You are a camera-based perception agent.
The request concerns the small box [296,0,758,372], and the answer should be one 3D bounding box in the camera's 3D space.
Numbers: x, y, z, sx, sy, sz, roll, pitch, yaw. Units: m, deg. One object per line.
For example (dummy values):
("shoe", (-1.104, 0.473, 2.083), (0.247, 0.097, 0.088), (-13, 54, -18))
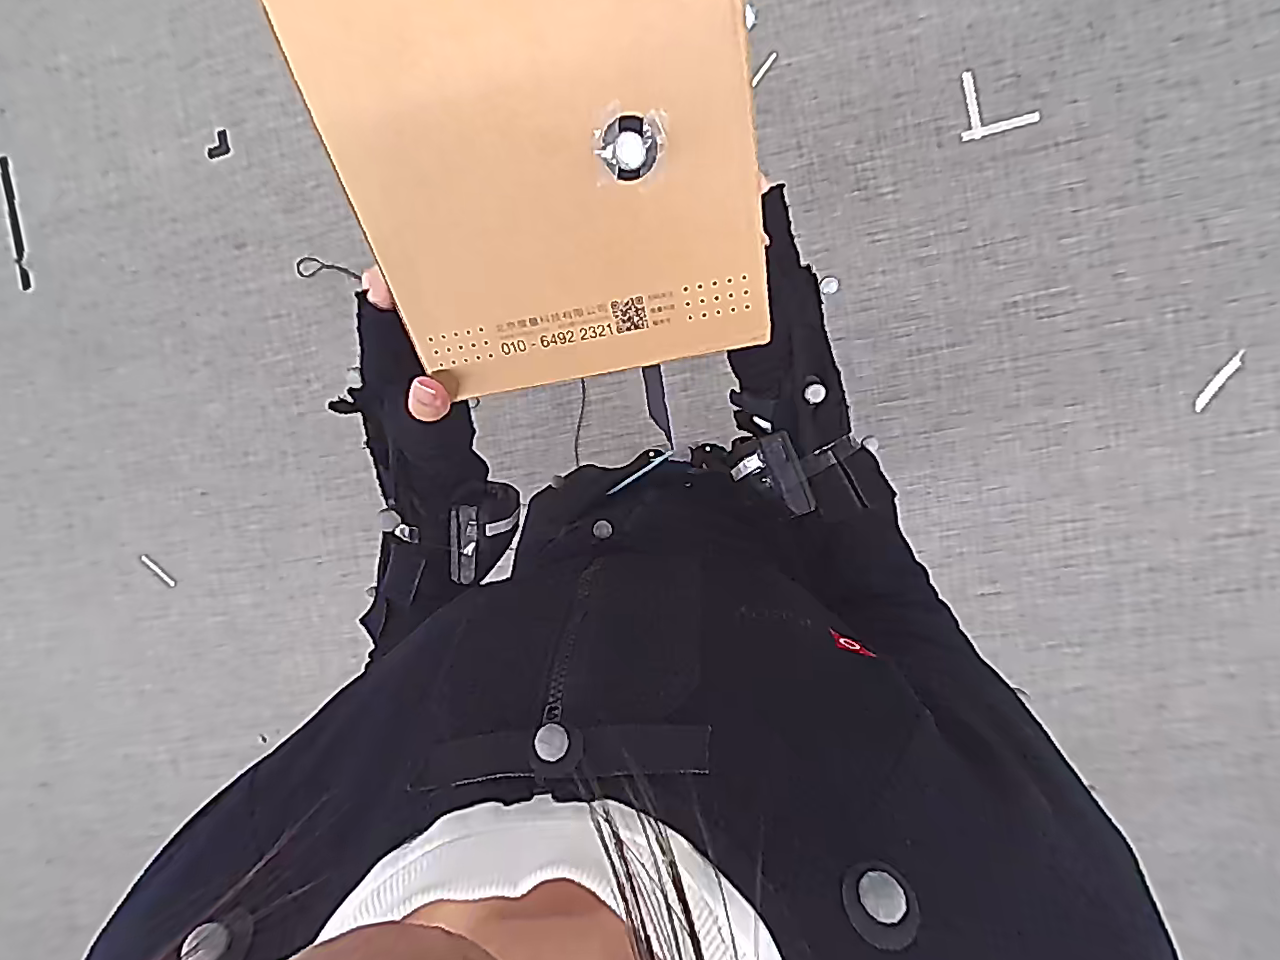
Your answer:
("small box", (-0.031, -0.170, 0.303), (0.168, 0.179, 0.176), (-8, 123, 9))
